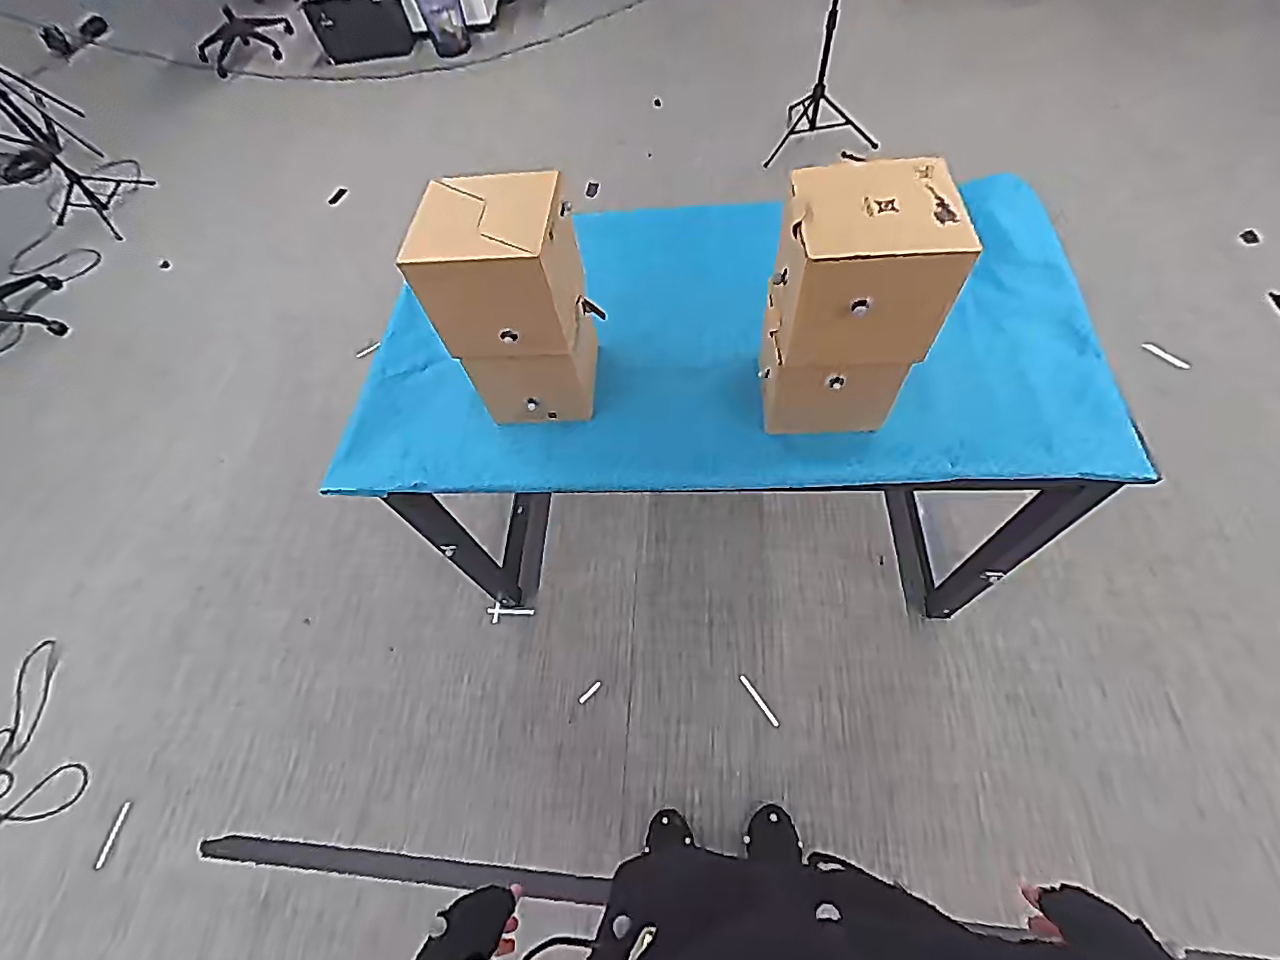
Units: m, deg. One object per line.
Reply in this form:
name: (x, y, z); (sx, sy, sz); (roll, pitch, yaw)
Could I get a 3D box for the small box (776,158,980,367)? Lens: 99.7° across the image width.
small box: (0.265, -0.254, 0.657); (0.179, 0.176, 0.168); (-4, 60, 5)

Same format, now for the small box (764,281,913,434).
small box: (0.278, -0.179, 0.802); (0.179, 0.176, 0.168); (-1, 61, 8)

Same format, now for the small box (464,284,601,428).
small box: (-0.165, -0.205, 0.879); (0.168, 0.176, 0.179); (1, 63, 10)

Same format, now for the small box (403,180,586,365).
small box: (-0.182, -0.276, 0.729); (0.179, 0.176, 0.168); (0, 60, 8)
